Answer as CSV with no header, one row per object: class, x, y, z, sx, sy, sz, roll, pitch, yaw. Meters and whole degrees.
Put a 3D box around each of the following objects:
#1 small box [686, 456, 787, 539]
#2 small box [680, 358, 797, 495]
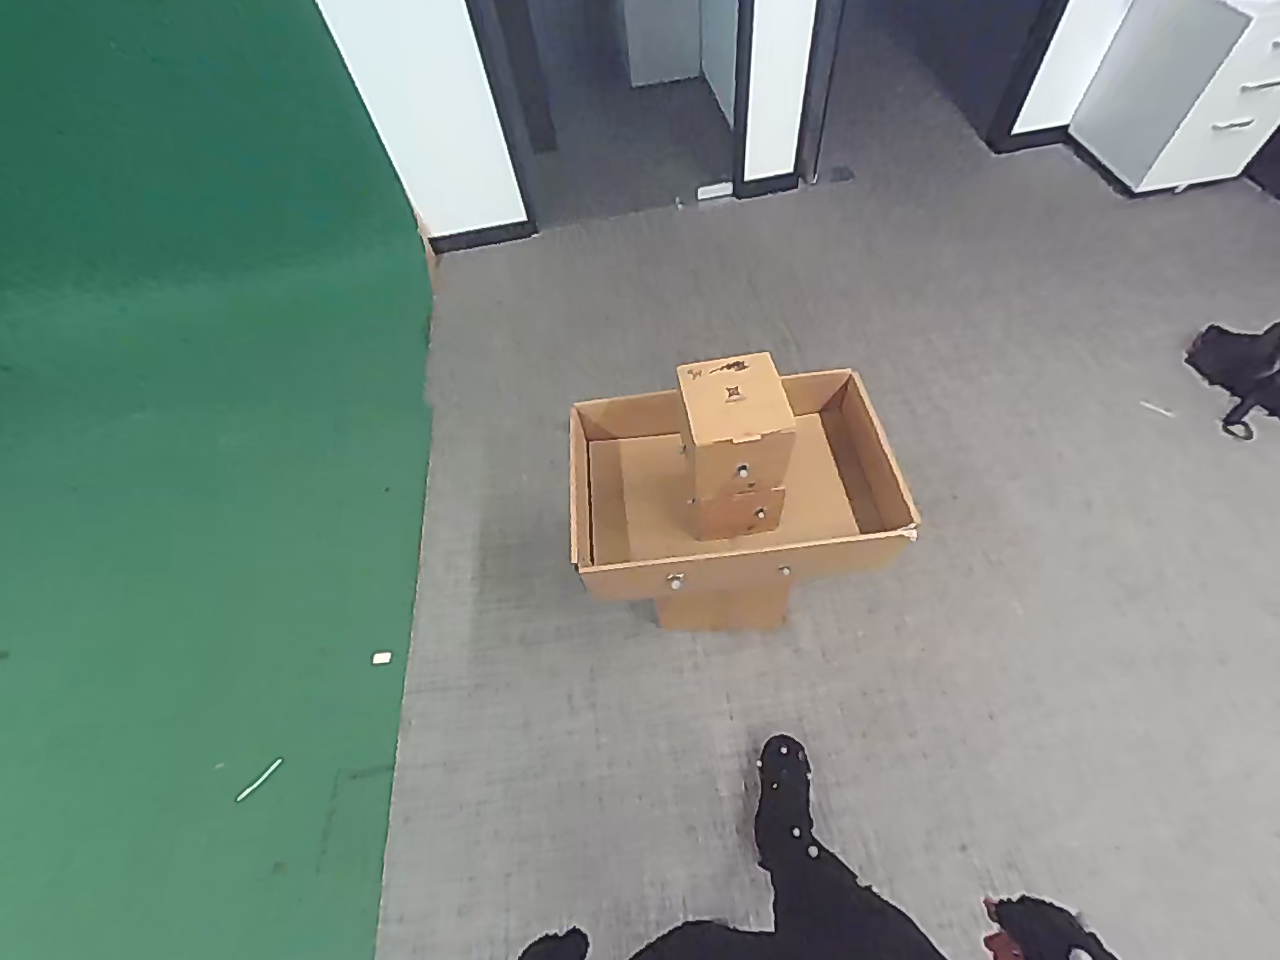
small box,0.188,0.006,1.093,0.168,0.176,0.179,-9,55,0
small box,0.166,-0.085,0.959,0.168,0.176,0.179,-8,57,0
